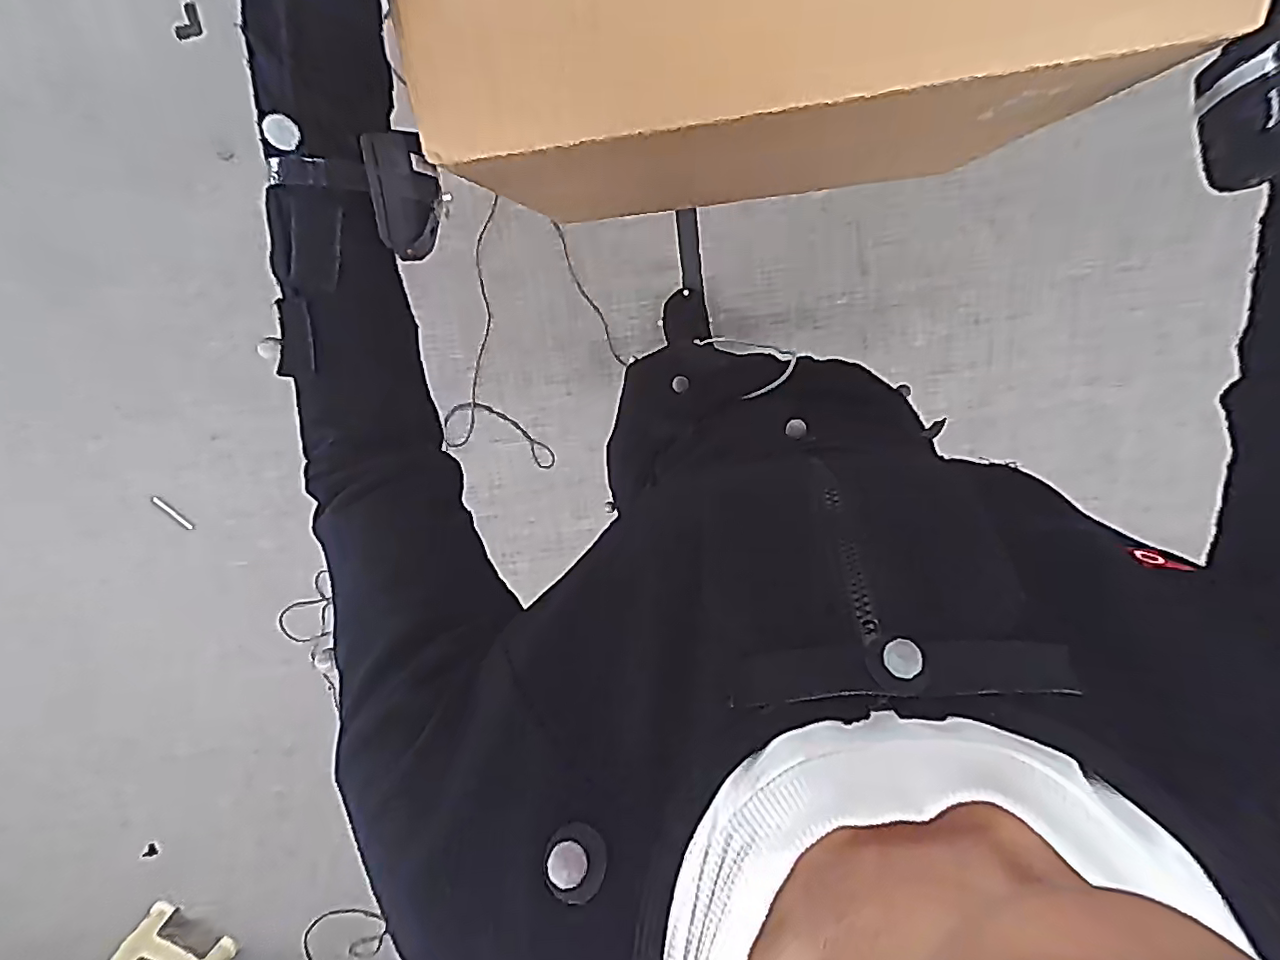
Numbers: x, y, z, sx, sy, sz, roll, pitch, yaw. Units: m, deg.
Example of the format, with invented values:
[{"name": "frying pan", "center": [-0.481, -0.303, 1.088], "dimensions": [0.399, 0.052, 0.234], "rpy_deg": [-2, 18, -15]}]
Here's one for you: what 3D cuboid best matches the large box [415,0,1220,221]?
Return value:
[{"name": "large box", "center": [0.076, -0.395, 0.377], "dimensions": [0.408, 0.320, 0.320], "rpy_deg": [-5, 109, 7]}]
